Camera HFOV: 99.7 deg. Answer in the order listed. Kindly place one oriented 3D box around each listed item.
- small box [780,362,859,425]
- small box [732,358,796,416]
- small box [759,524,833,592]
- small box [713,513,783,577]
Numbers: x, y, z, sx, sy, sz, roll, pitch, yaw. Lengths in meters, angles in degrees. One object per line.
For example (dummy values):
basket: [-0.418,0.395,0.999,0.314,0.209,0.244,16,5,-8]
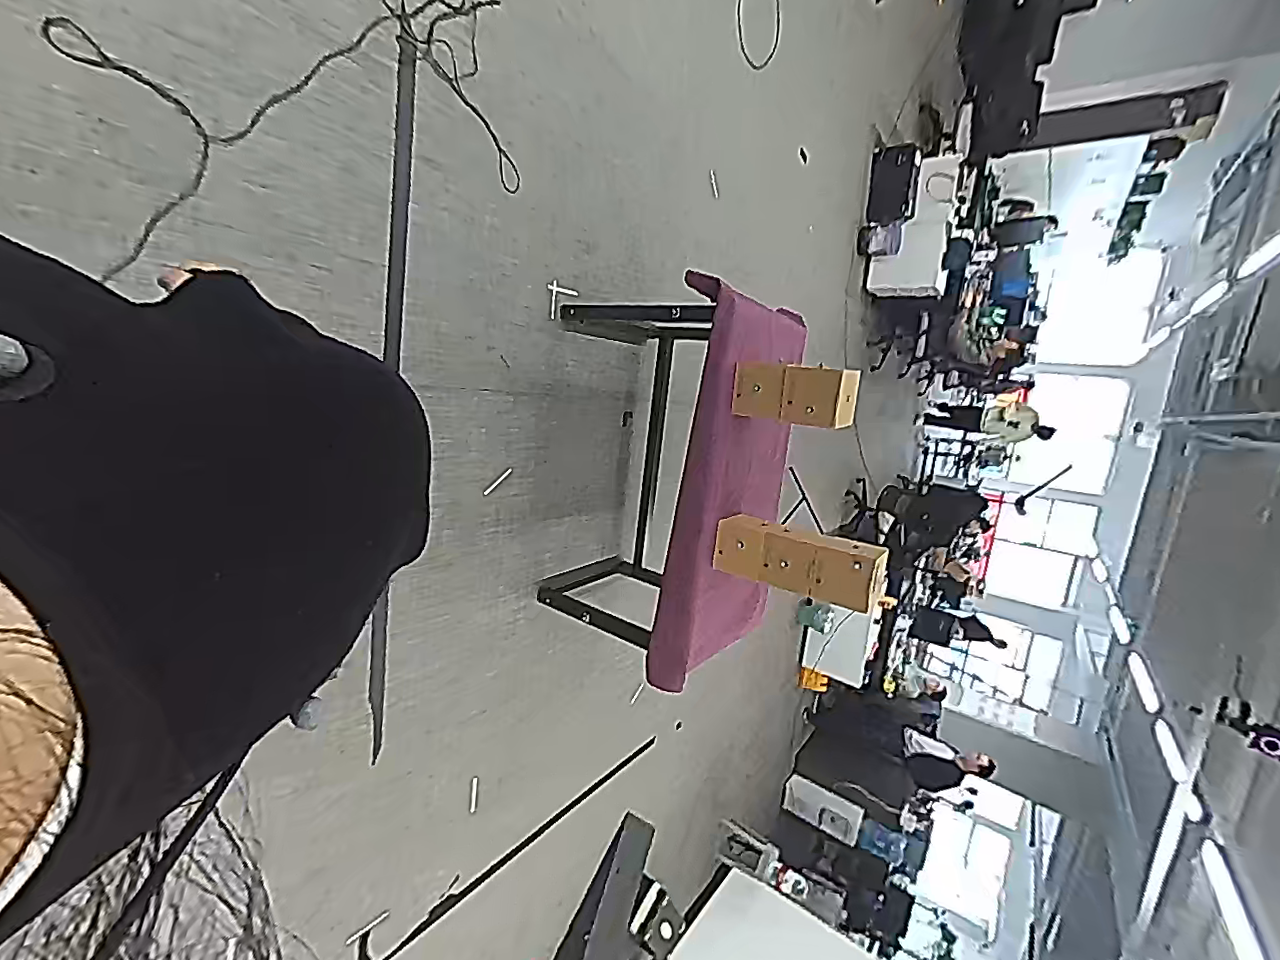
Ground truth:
small box: [0.531,-0.259,1.607,0.179,0.176,0.168,-17,115,-52]
small box: [0.406,-0.293,1.705,0.179,0.176,0.168,-13,112,-53]
small box: [0.495,0.243,1.726,0.179,0.176,0.168,-5,105,-54]
small box: [0.361,0.213,1.815,0.179,0.176,0.168,-7,106,-54]
